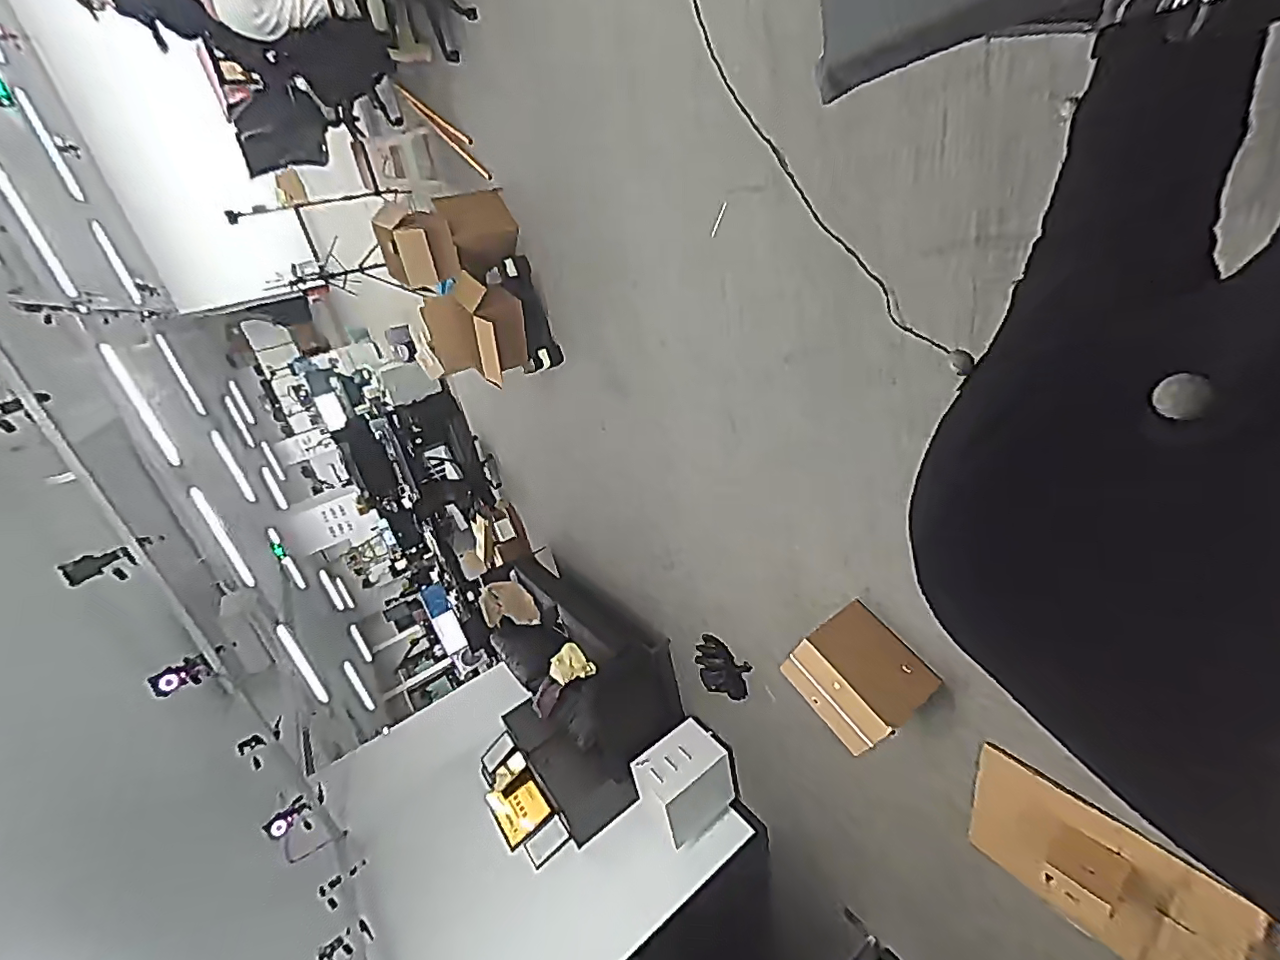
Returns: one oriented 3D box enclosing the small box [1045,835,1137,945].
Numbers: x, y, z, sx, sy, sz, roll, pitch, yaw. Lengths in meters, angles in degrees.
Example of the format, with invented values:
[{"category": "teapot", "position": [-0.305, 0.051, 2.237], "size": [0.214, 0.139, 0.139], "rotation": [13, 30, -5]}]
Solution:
[{"category": "small box", "position": [1.377, 1.241, 1.651], "size": [0.179, 0.176, 0.168], "rotation": [18, 130, 53]}]
